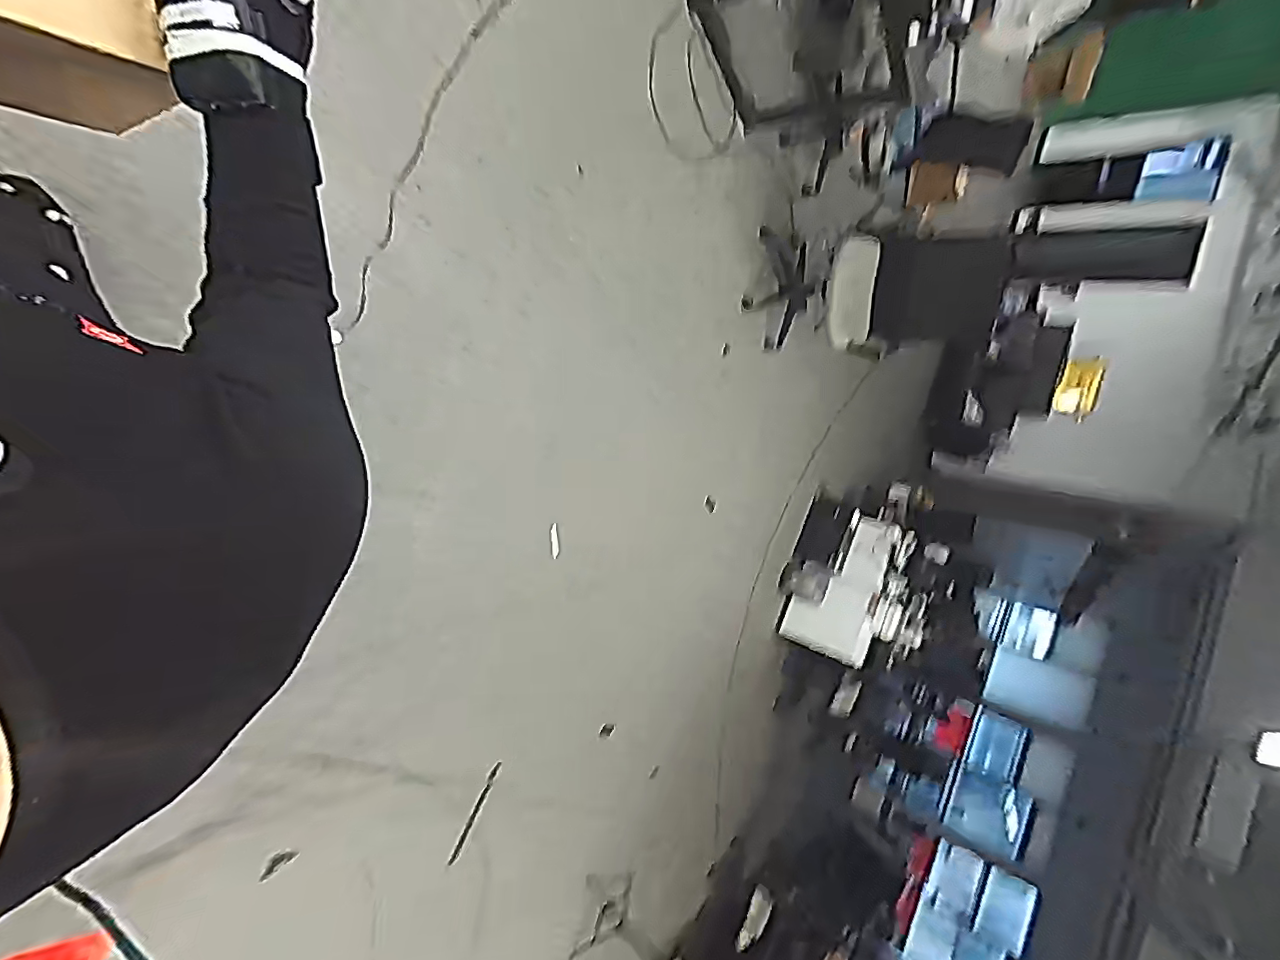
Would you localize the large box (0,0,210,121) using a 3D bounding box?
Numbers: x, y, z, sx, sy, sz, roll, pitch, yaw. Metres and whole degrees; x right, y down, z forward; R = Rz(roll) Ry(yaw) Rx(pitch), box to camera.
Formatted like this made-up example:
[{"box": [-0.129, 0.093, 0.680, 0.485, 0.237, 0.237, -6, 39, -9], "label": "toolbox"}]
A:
[{"box": [-0.530, -0.439, 0.274, 0.408, 0.320, 0.320, -15, 117, -51], "label": "large box"}]

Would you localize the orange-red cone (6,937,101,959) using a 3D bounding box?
[{"box": [-1.231, 1.177, 1.099, 0.198, 0.360, 0.199, 32, 76, -52], "label": "orange-red cone"}]
